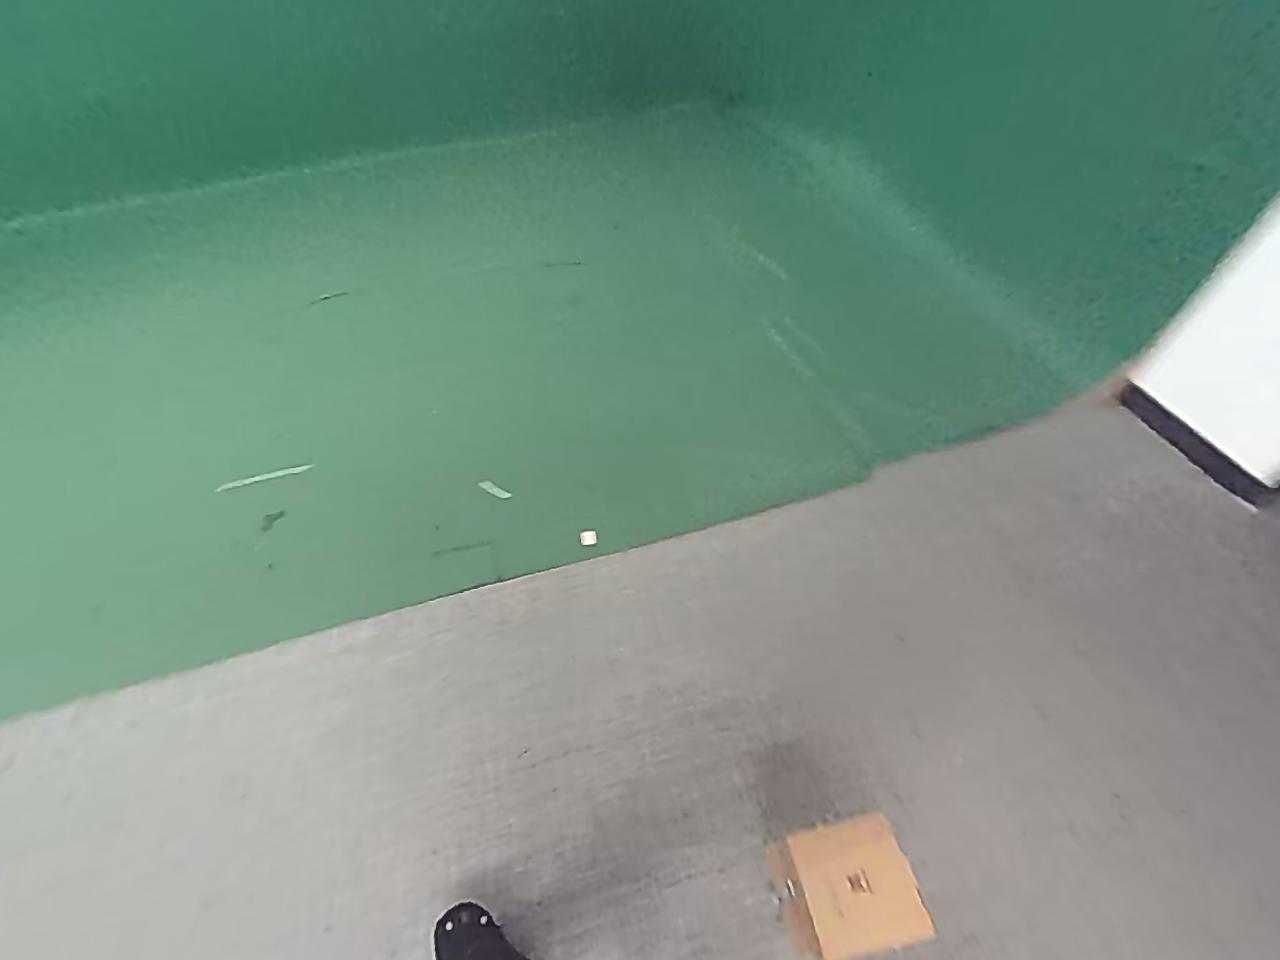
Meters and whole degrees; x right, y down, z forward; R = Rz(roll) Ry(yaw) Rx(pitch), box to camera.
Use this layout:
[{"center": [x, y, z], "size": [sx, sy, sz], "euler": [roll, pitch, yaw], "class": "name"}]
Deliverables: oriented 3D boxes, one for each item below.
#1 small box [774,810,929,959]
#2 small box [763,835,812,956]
[{"center": [0.344, 0.684, 0.921], "size": [0.179, 0.176, 0.168], "euler": [-12, 51, -4], "class": "small box"}, {"center": [0.349, 0.785, 1.048], "size": [0.168, 0.176, 0.179], "euler": [-10, 53, -4], "class": "small box"}]
